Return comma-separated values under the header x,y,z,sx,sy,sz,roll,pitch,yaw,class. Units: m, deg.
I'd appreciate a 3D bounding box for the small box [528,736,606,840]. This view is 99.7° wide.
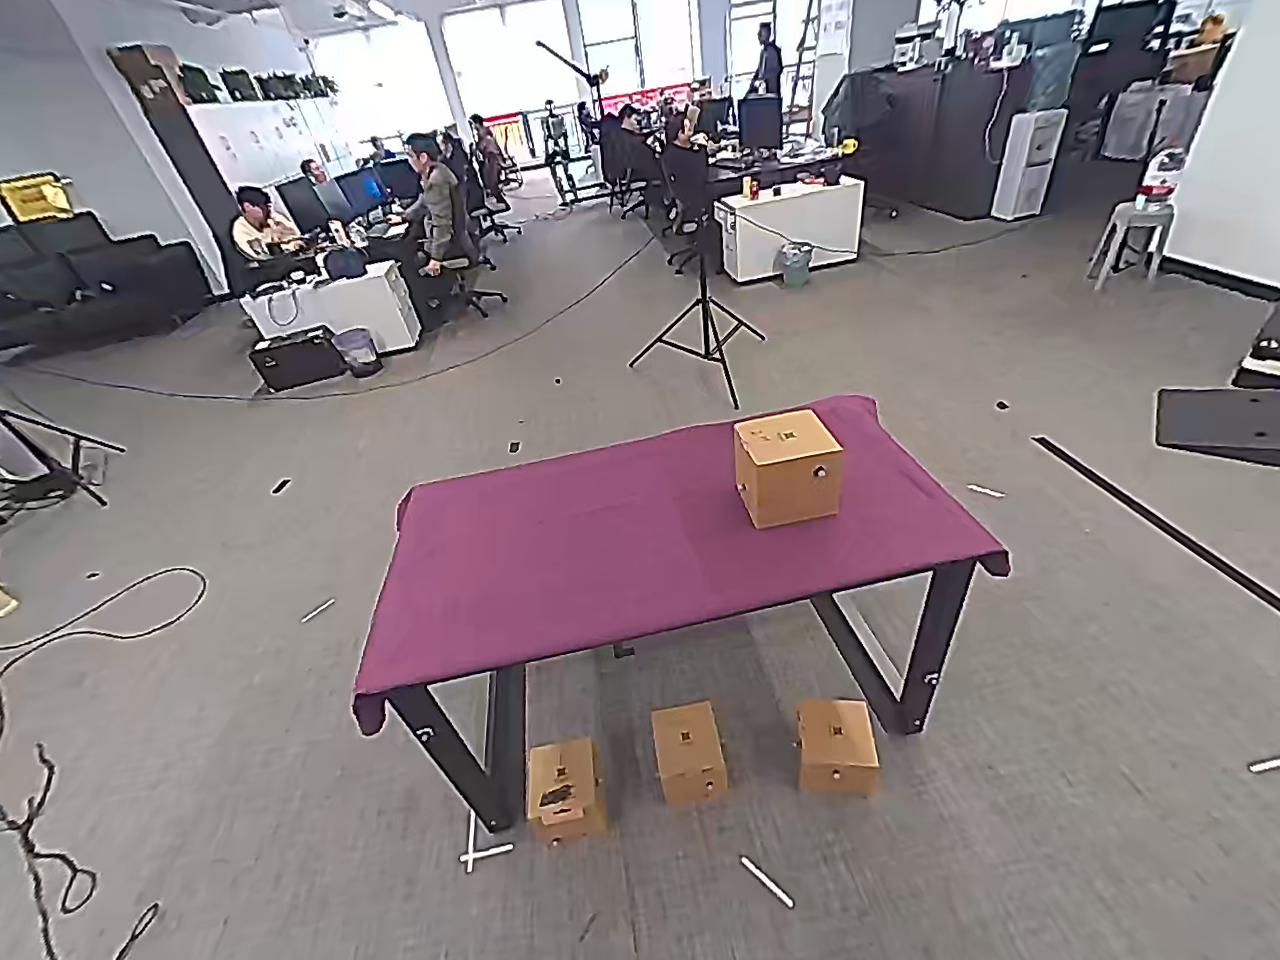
x,y,z,sx,sy,sz,roll,pitch,yaw,class
-0.186,0.802,1.400,0.168,0.176,0.179,-11,36,-2,small box

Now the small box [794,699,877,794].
x,y,z,sx,sy,sz,roll,pitch,yaw,class
0.496,0.688,1.395,0.179,0.176,0.168,-3,39,12,small box

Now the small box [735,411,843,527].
x,y,z,sx,sy,sz,roll,pitch,yaw,class
0.309,-0.023,1.152,0.179,0.176,0.168,-11,36,-1,small box

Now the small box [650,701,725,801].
x,y,z,sx,sy,sz,roll,pitch,yaw,class
0.127,0.724,1.433,0.168,0.176,0.179,-10,36,-2,small box
